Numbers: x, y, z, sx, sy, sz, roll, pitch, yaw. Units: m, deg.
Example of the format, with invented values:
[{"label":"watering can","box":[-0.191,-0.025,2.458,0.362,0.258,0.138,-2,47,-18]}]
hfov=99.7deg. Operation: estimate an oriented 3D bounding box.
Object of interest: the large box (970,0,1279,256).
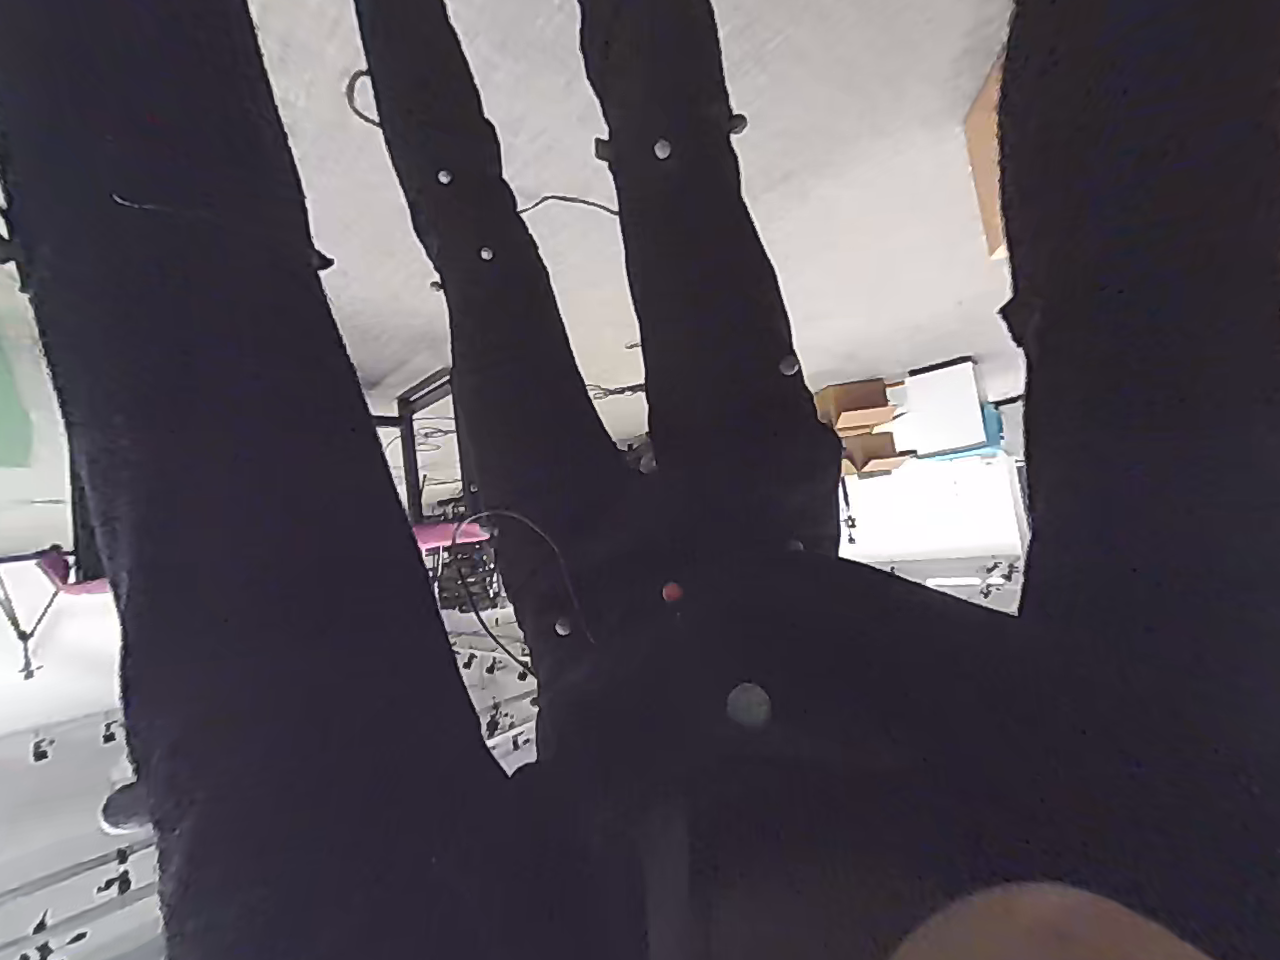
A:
[{"label":"large box","box":[0.830,-0.655,0.936,0.320,0.320,0.408,-9,177,13]}]

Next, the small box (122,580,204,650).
[{"label":"small box","box":[-1.413,0.391,1.601,0.168,0.176,0.179,-5,176,-44]}]
